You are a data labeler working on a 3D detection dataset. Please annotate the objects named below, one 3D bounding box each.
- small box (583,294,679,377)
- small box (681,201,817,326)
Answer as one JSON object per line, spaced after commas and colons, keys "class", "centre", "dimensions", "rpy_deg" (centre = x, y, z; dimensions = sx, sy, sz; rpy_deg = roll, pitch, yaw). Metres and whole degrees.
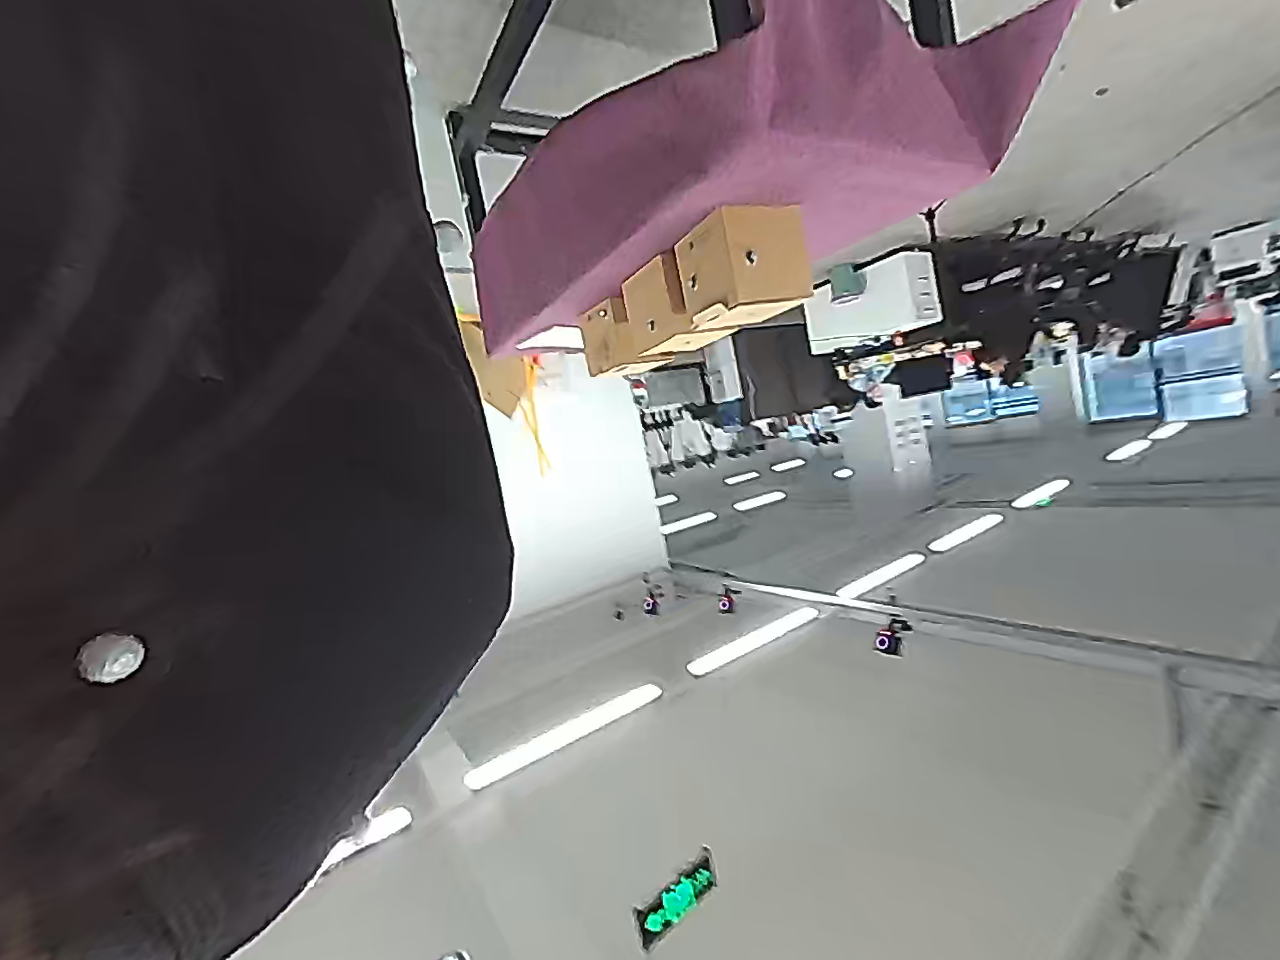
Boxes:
{"class": "small box", "centre": [-0.028, -0.381, 1.423], "dimensions": [0.179, 0.176, 0.168], "rpy_deg": [-16, -174, -35]}
{"class": "small box", "centre": [0.195, -0.400, 1.006], "dimensions": [0.179, 0.176, 0.168], "rpy_deg": [-14, -175, -24]}
